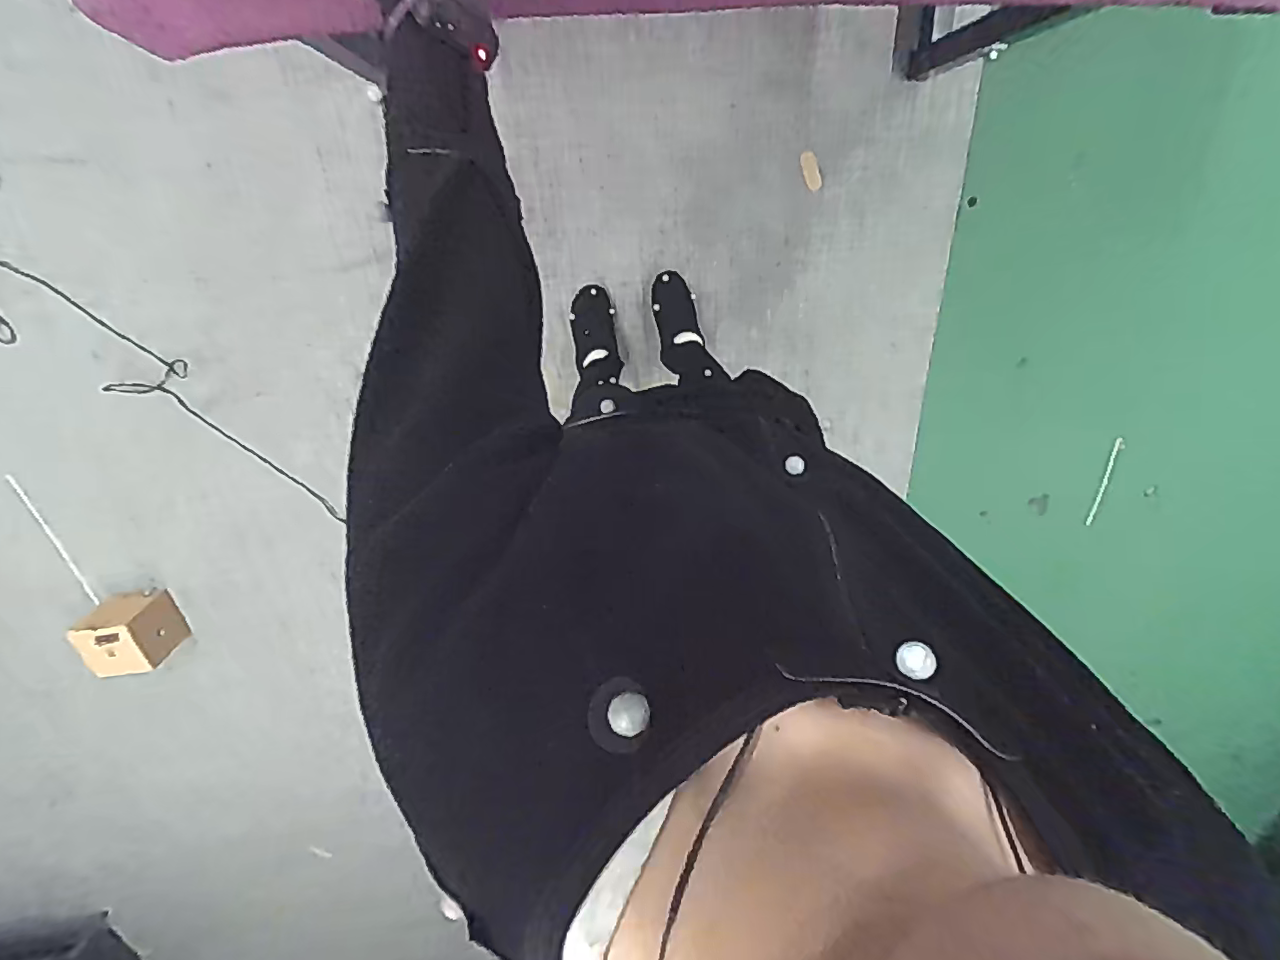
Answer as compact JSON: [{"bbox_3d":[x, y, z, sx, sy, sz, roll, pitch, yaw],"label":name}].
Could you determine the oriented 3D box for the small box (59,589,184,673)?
[{"bbox_3d":[-1.498,0.432,1.577,0.168,0.176,0.179,-5,116,-2],"label":"small box"}]

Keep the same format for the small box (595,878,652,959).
[{"bbox_3d":[-0.055,1.373,1.672,0.168,0.176,0.179,-2,116,-5],"label":"small box"}]
